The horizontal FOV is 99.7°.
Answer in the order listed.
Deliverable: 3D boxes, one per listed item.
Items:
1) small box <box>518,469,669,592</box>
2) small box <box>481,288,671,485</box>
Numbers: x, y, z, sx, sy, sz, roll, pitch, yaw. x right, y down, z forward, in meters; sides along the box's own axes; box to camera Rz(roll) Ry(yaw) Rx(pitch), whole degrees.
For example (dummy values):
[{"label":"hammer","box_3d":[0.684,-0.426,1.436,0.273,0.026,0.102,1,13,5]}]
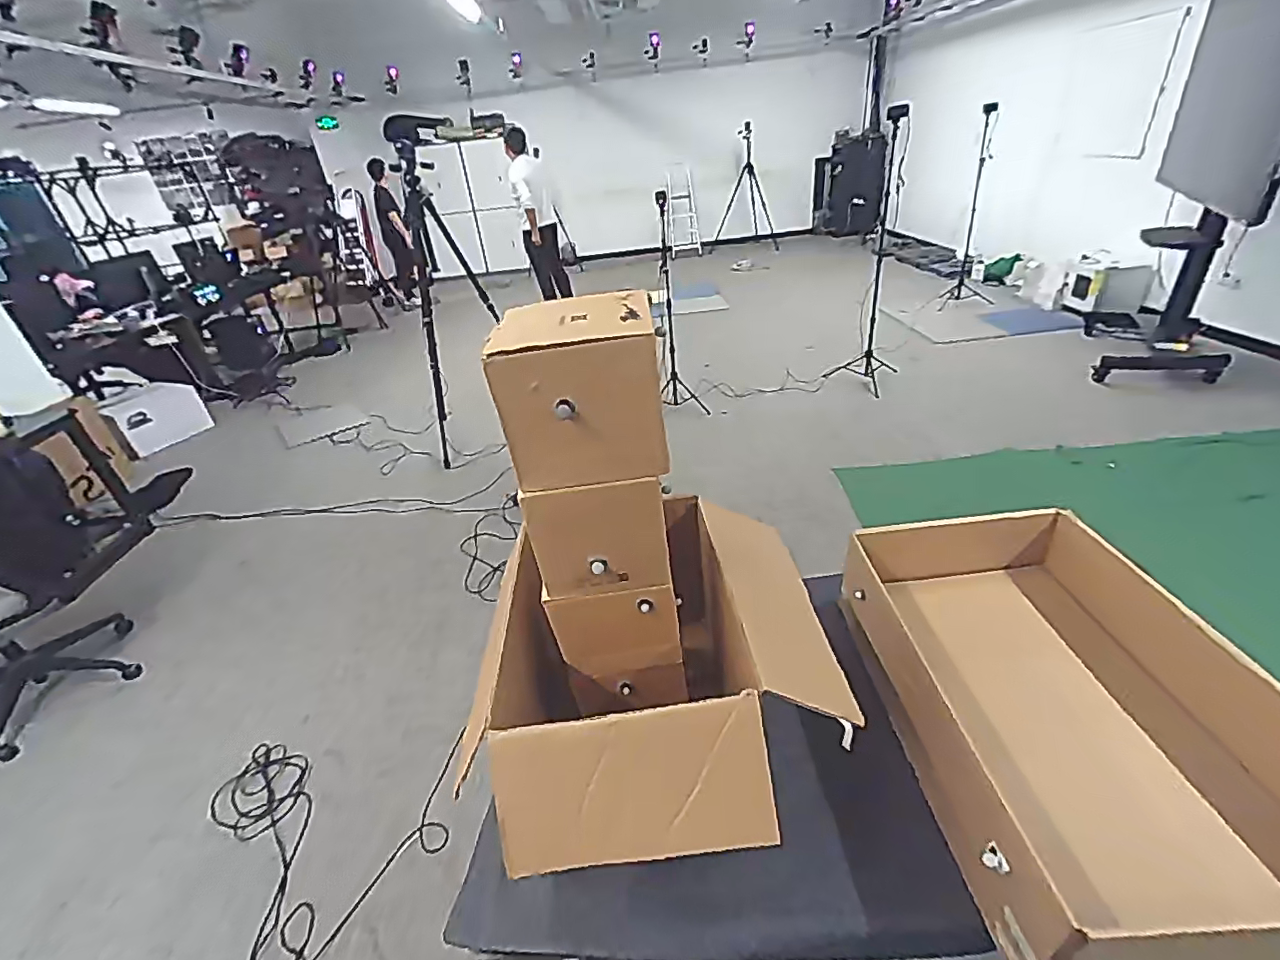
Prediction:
[{"label":"small box","box_3d":[-0.054,0.026,0.731,0.168,0.176,0.179,-7,35,2]},{"label":"small box","box_3d":[-0.064,-0.109,0.638,0.179,0.176,0.168,-8,35,3]}]
